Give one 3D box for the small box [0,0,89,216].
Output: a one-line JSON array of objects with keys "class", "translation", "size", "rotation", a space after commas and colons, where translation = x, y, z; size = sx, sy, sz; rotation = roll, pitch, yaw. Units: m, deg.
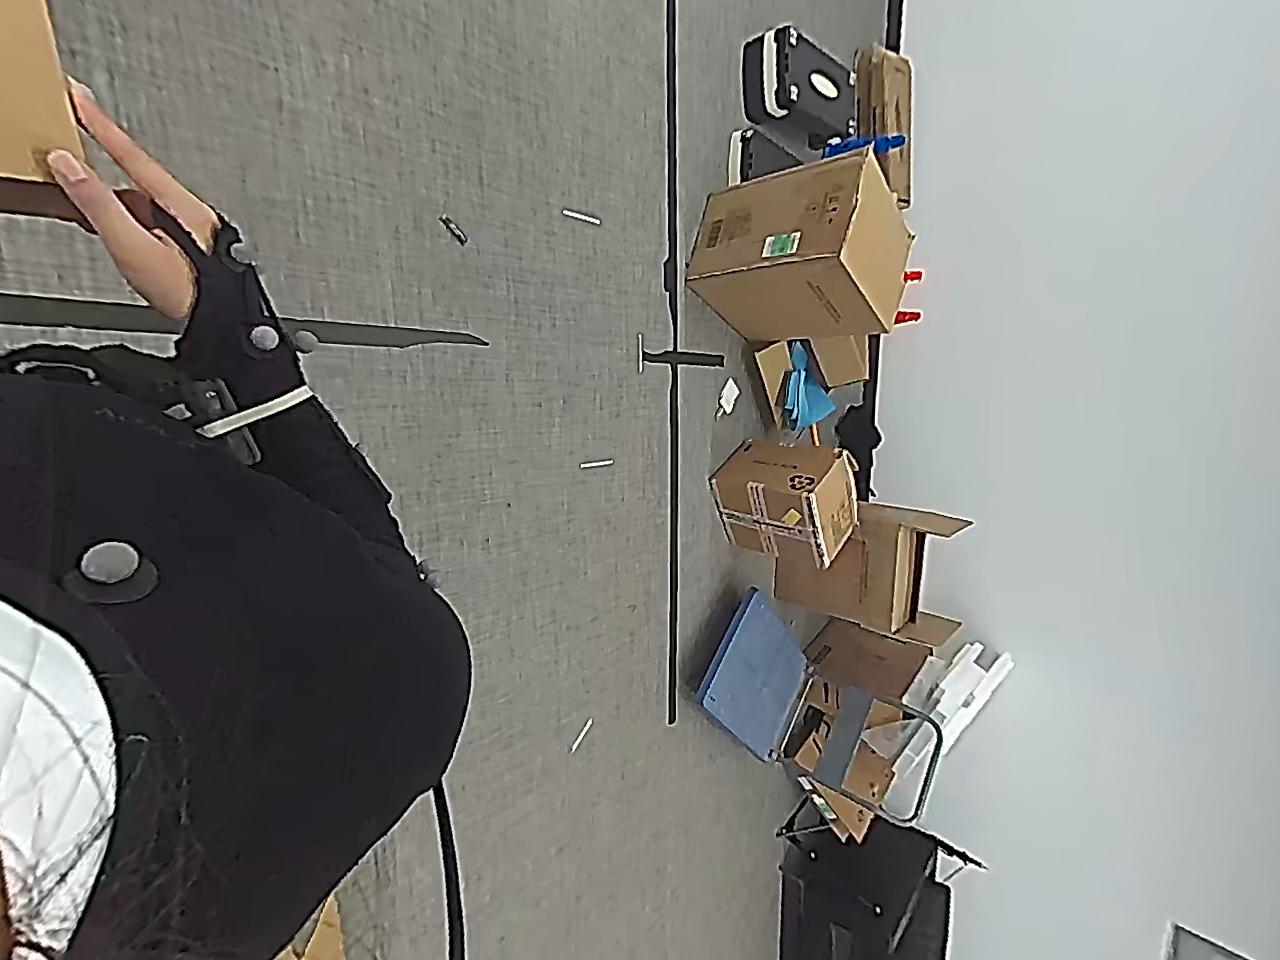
[{"class": "small box", "translation": [-0.433, -0.245, 0.284], "size": [0.179, 0.176, 0.168], "rotation": [-16, 114, -45]}]
